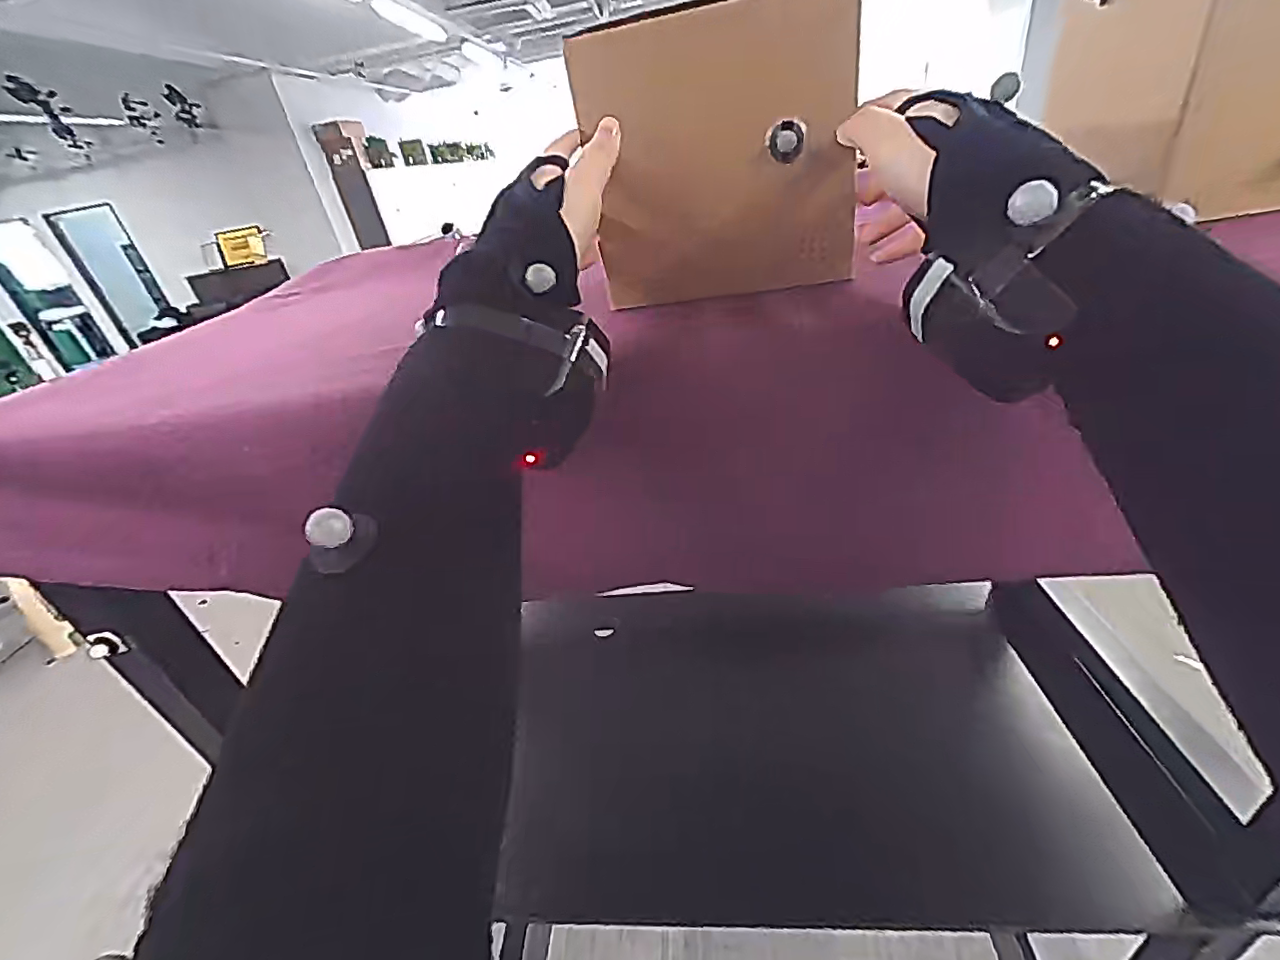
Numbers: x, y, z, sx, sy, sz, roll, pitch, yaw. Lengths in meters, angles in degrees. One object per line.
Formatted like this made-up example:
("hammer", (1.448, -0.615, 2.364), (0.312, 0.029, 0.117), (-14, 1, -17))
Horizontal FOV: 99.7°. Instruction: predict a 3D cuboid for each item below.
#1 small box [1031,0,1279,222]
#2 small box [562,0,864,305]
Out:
("small box", (0.411, -0.286, 0.366), (0.179, 0.176, 0.168), (-5, 30, 10))
("small box", (0.061, -0.245, 0.414), (0.179, 0.176, 0.168), (-4, 30, 12))
